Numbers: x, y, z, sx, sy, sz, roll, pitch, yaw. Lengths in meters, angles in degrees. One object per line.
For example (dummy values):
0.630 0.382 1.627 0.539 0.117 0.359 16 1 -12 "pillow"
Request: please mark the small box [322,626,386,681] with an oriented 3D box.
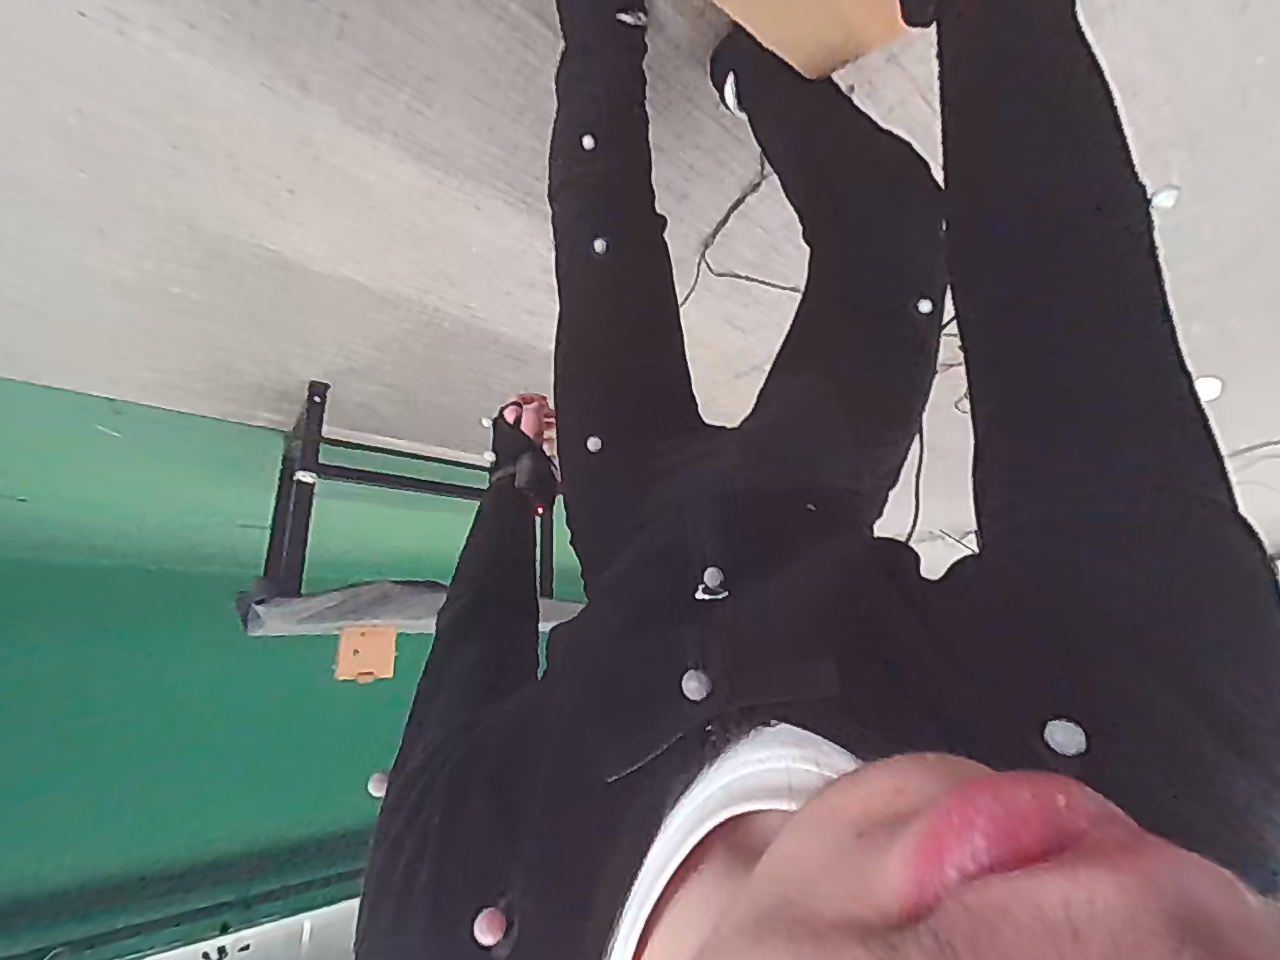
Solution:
-0.967 0.584 1.828 0.168 0.176 0.179 10 159 -30 "small box"
